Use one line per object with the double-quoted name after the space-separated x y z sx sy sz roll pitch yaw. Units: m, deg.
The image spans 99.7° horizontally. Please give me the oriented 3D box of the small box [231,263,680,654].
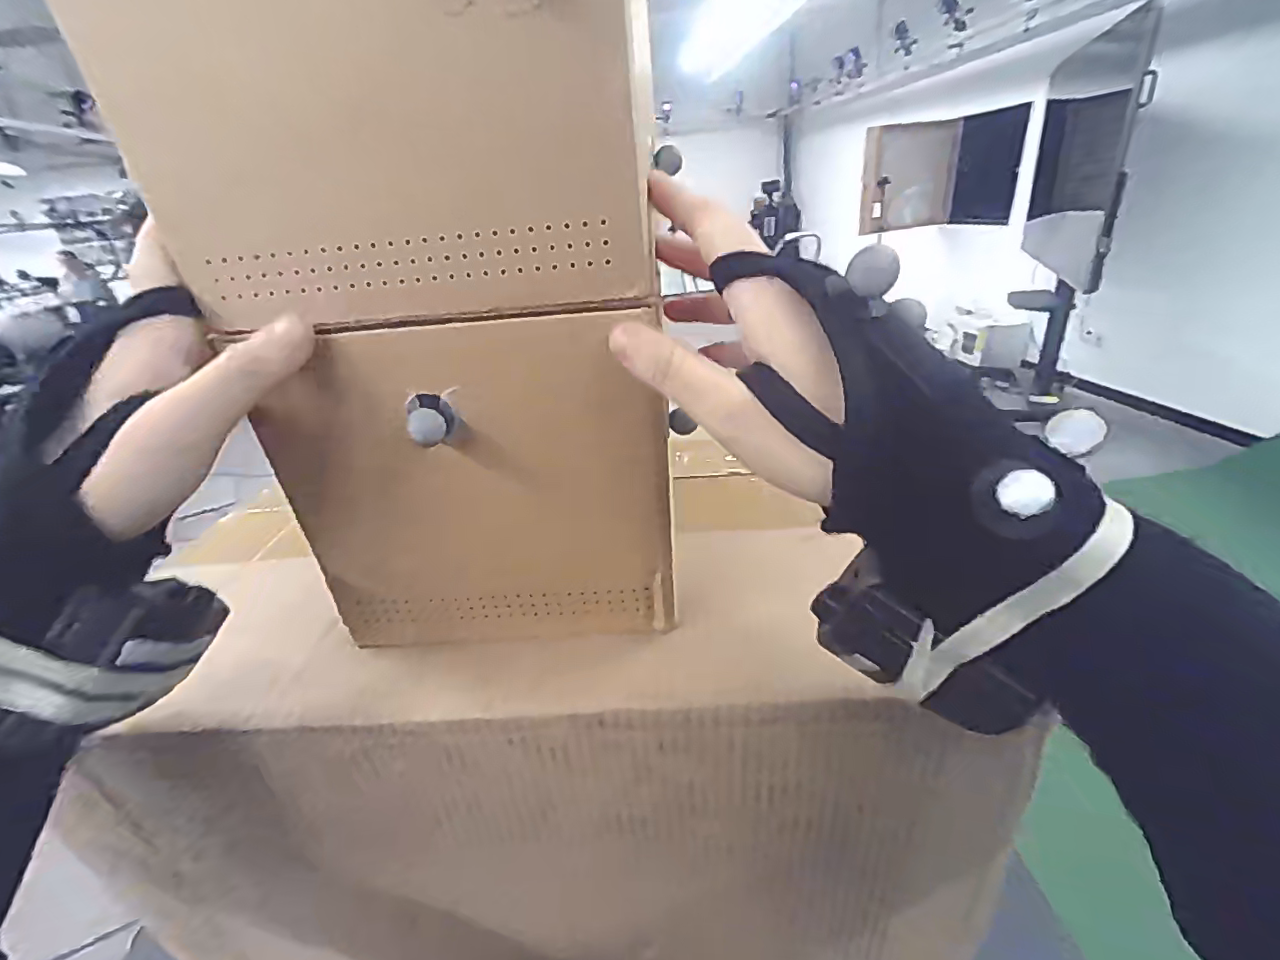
-0.067 -0.018 0.315 0.179 0.176 0.168 -4 30 4 "small box"
